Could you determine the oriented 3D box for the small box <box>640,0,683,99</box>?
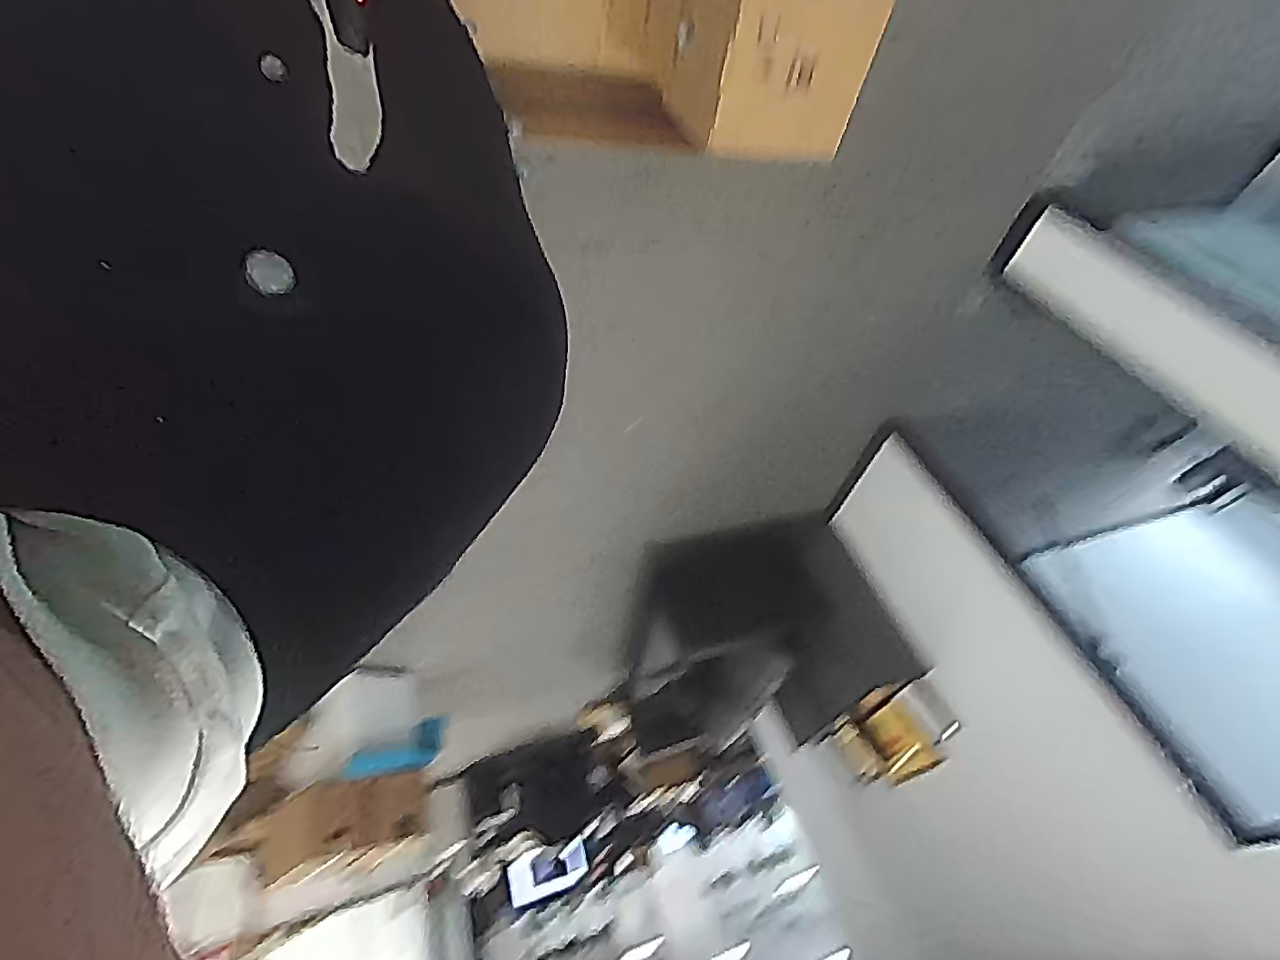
[{"bbox_3d":[0.116,-0.620,0.729,0.179,0.176,0.168,-6,142,-19],"label":"small box"}]

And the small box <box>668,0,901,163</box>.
[{"bbox_3d":[0.150,-0.494,0.627,0.179,0.176,0.168,-7,141,-17],"label":"small box"}]
